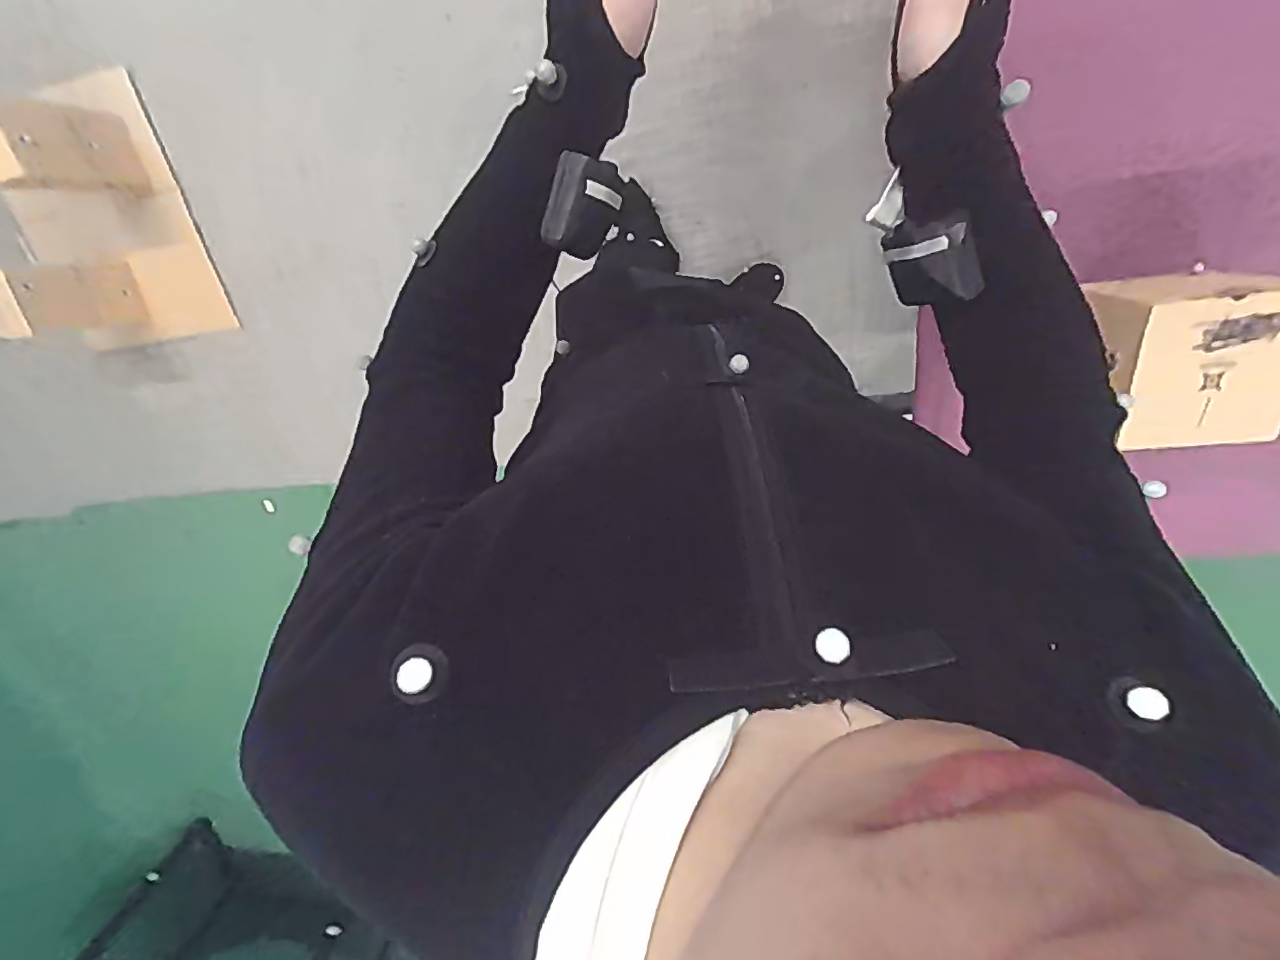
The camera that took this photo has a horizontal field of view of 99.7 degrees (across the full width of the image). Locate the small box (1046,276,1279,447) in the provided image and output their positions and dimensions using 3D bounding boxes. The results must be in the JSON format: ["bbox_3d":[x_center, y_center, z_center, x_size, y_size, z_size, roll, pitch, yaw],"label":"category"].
[{"bbox_3d":[0.653,-0.155,0.680,0.168,0.176,0.179,-3,115,10],"label":"small box"}]

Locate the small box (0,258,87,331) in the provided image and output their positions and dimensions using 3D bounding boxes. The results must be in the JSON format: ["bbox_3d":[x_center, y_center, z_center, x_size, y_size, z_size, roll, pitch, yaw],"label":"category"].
[{"bbox_3d":[-1.695,-0.511,1.477,0.168,0.176,0.179,3,116,8],"label":"small box"}]

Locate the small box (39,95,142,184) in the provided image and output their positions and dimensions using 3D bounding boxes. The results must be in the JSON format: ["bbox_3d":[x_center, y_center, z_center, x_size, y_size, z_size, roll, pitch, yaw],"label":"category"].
[{"bbox_3d":[-1.512,-0.903,1.451,0.168,0.176,0.179,-4,115,10],"label":"small box"}]

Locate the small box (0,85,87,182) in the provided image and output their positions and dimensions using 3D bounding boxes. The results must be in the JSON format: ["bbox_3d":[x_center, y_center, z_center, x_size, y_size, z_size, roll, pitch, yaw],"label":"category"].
[{"bbox_3d":[-1.526,-0.834,1.306,0.168,0.176,0.179,-5,116,10],"label":"small box"}]

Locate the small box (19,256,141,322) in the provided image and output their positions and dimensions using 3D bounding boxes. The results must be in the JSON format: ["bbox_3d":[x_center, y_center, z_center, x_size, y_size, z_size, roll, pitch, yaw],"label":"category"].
[{"bbox_3d":[-1.679,-0.579,1.628,0.168,0.176,0.179,3,115,7],"label":"small box"}]
